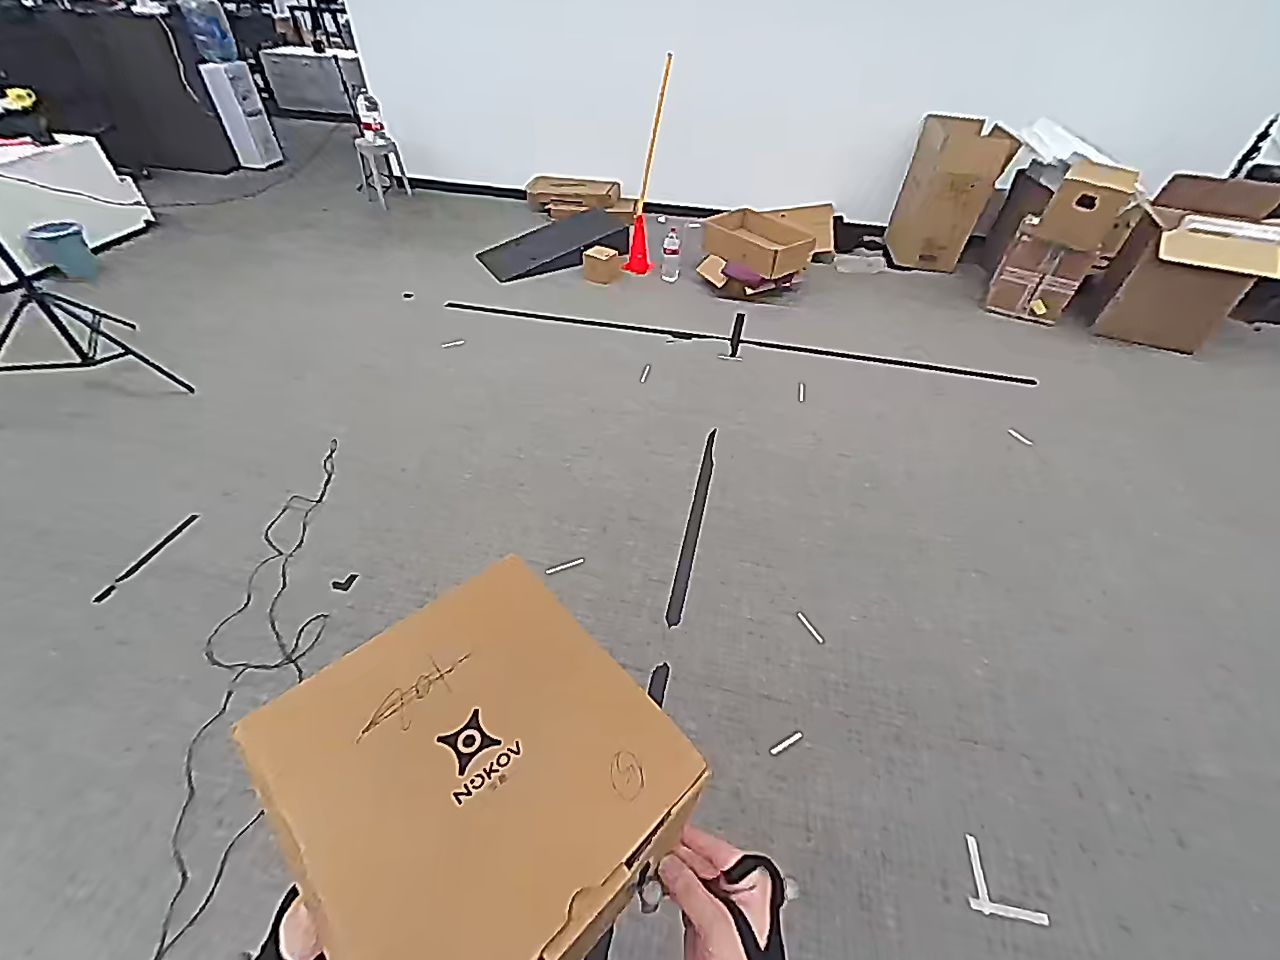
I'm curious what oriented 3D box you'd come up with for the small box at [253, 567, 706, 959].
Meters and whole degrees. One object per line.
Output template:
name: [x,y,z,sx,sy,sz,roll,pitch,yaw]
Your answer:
small box: [-0.086,0.196,0.332,0.168,0.176,0.179,-32,55,-33]
